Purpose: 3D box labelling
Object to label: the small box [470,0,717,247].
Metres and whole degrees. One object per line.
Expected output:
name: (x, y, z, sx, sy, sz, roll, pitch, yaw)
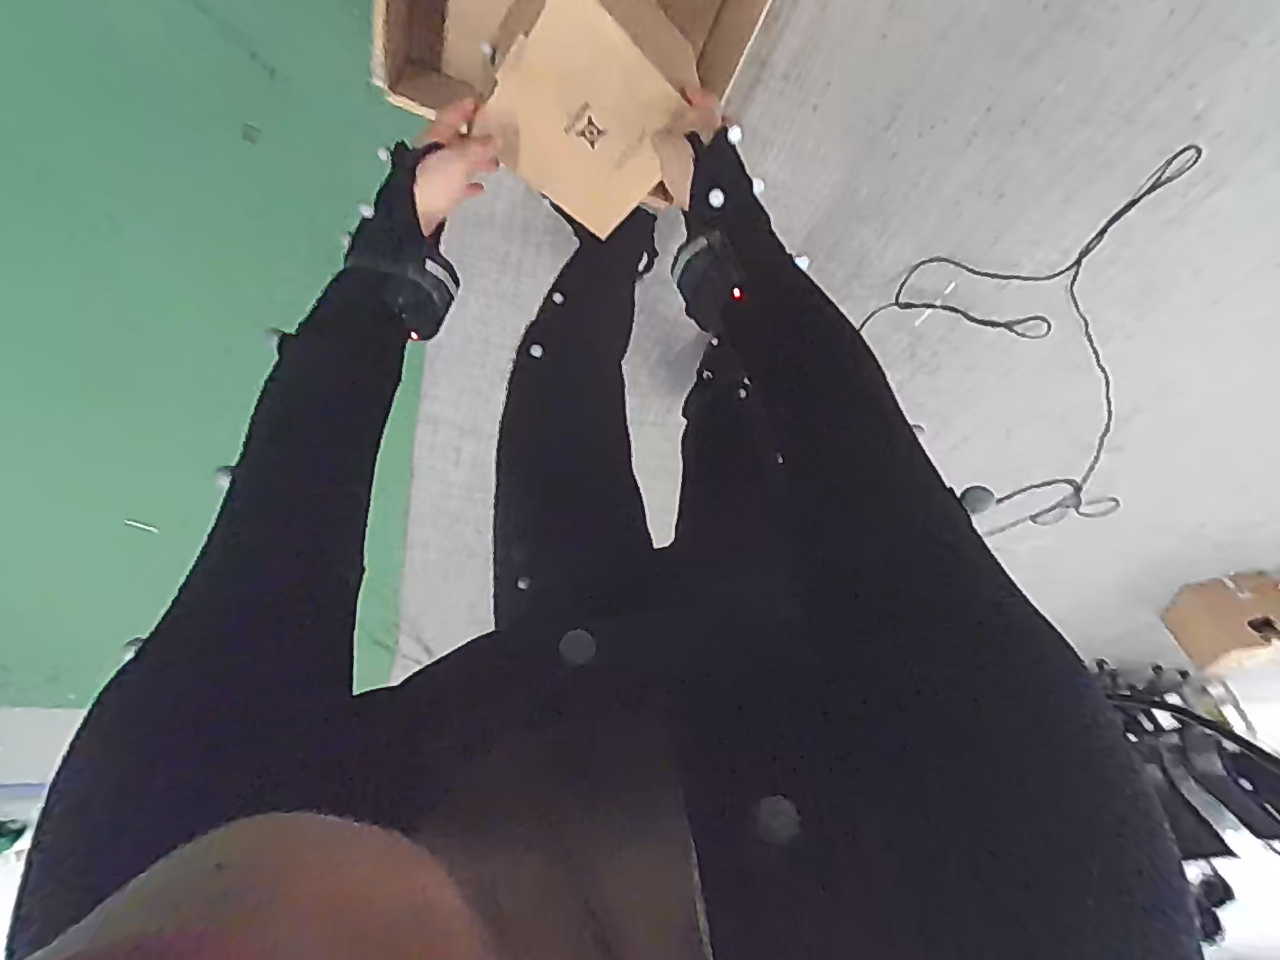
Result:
small box: (-0.049, -0.390, 0.549, 0.179, 0.176, 0.168, 22, 141, -38)
